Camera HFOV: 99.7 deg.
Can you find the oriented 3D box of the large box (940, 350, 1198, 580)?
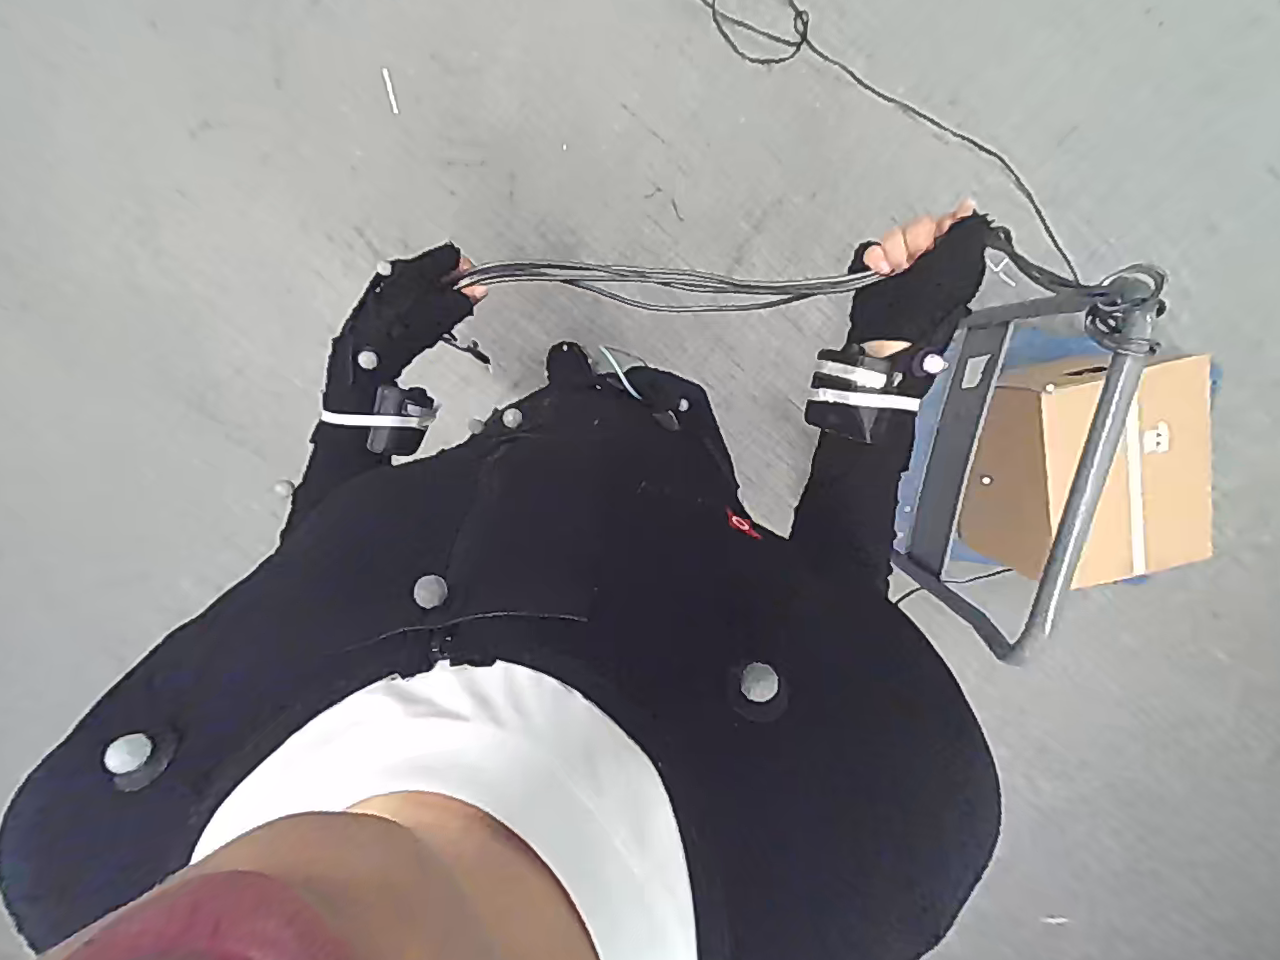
[{"bbox_3d":[0.912,-0.047,1.186,0.320,0.320,0.408,-13,101,0],"label":"large box"}]
